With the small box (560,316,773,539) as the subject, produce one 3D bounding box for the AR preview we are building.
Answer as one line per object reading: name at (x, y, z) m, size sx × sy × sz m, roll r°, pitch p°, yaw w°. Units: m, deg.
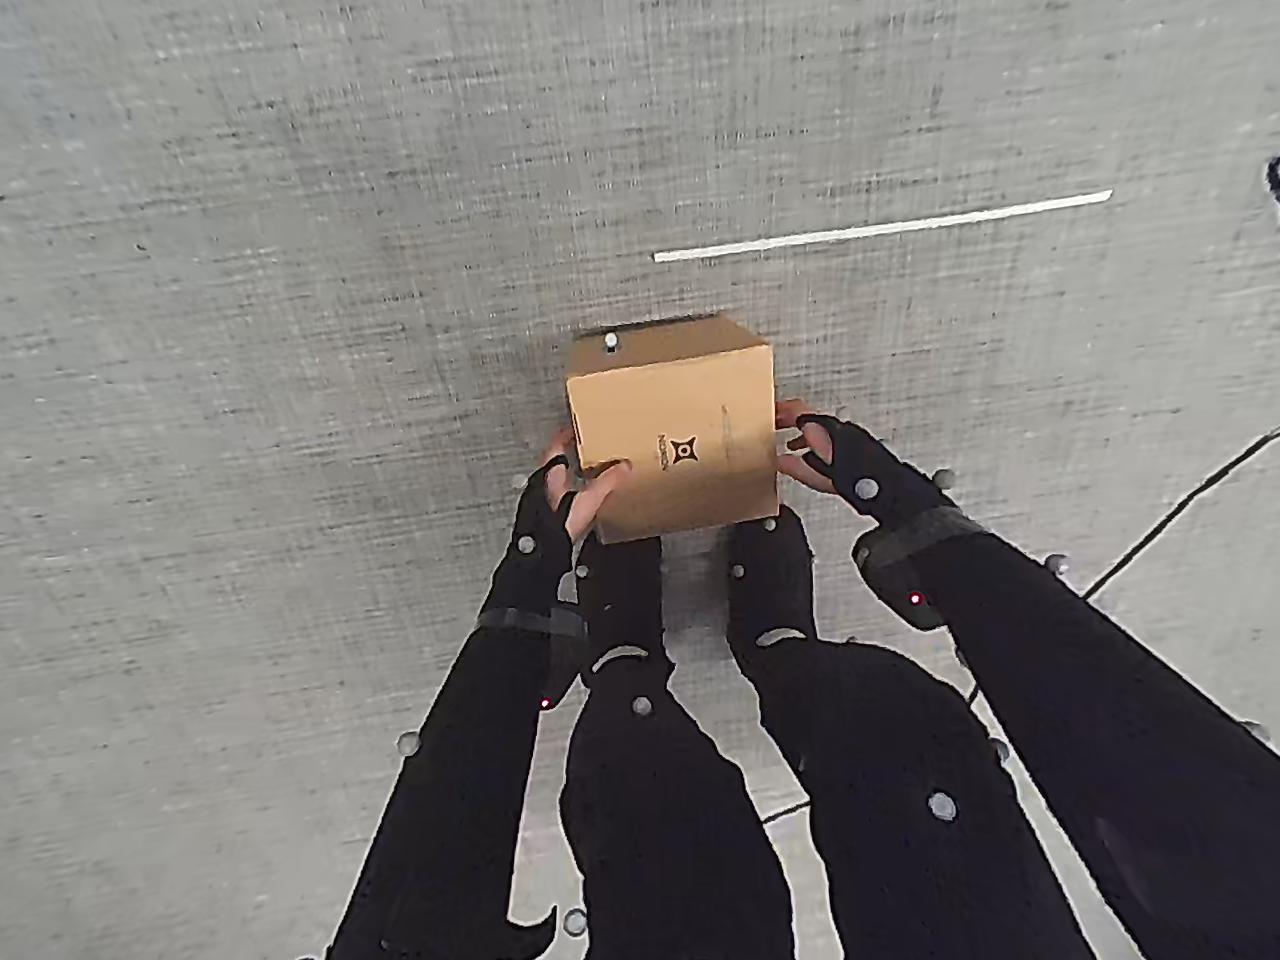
small box at (0.024, -0.063, 0.550) m, size 0.179 × 0.176 × 0.168 m, roll -10°, pitch 115°, yaw -1°
